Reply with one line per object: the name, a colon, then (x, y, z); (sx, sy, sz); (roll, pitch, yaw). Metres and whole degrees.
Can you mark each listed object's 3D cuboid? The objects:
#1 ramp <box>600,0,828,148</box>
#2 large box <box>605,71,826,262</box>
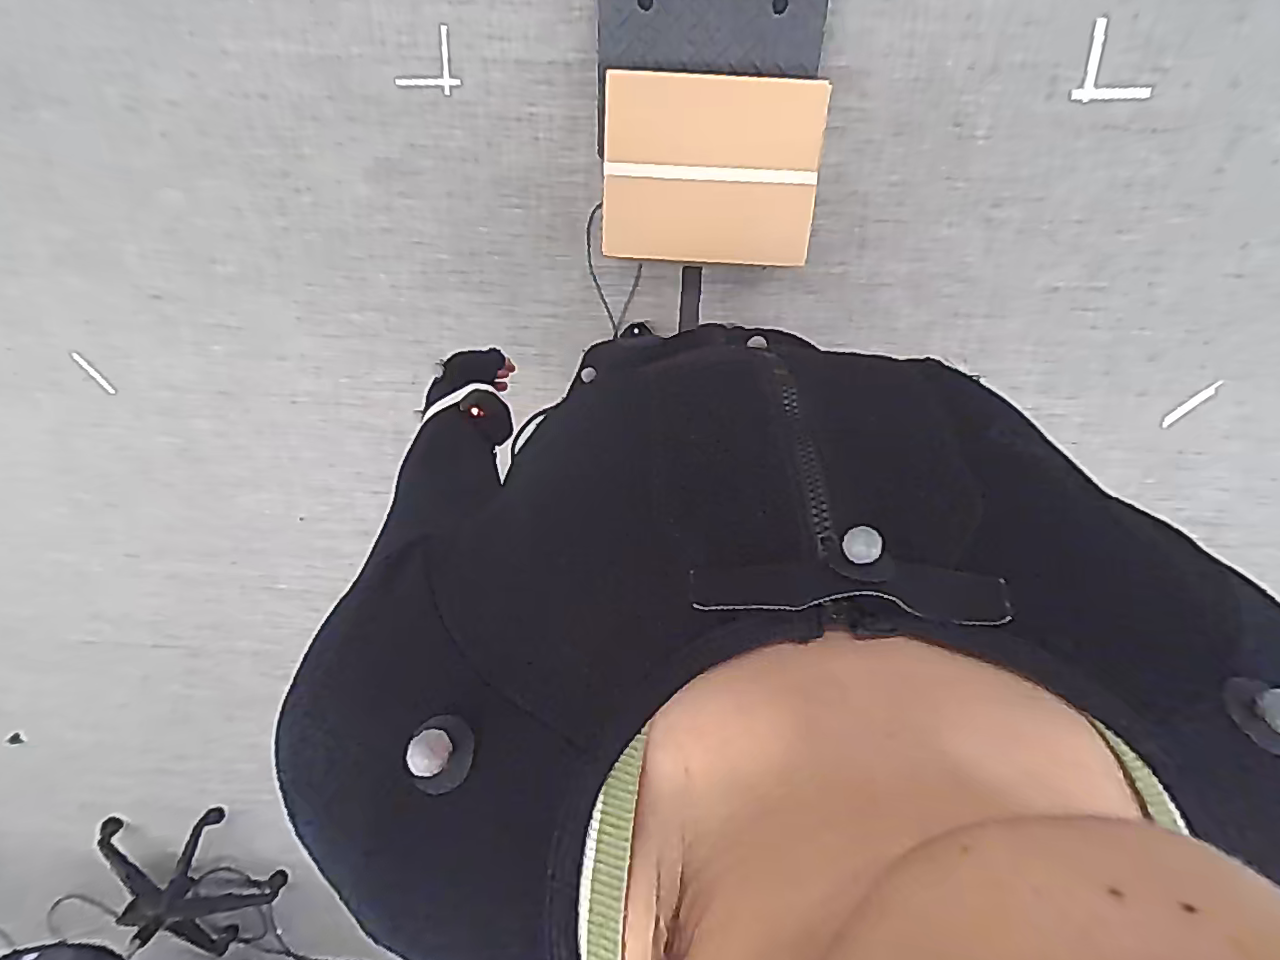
ramp: (0.166, -1.222, 1.059); (0.509, 0.206, 0.991); (1, 107, 1)
large box: (0.141, -0.642, 1.166); (0.408, 0.320, 0.320); (3, 110, 1)
